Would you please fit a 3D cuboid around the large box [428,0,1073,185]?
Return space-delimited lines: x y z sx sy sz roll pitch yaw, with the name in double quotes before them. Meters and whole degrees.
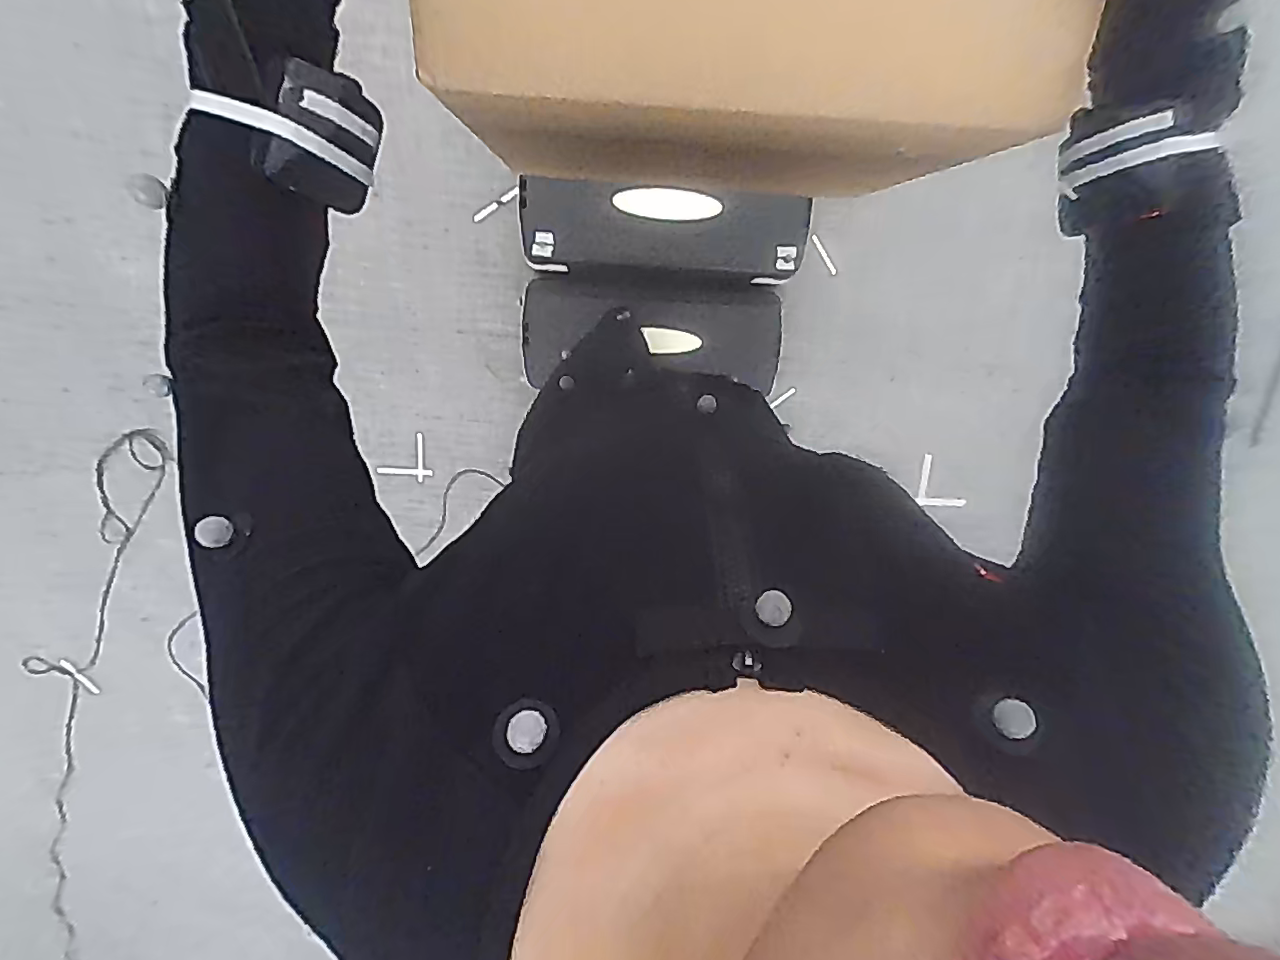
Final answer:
"large box" 0.066 -0.439 0.430 0.408 0.320 0.320 2 111 -4

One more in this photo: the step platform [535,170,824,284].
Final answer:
"step platform" 0.091 -0.650 1.315 0.684 0.204 0.286 2 104 -4
